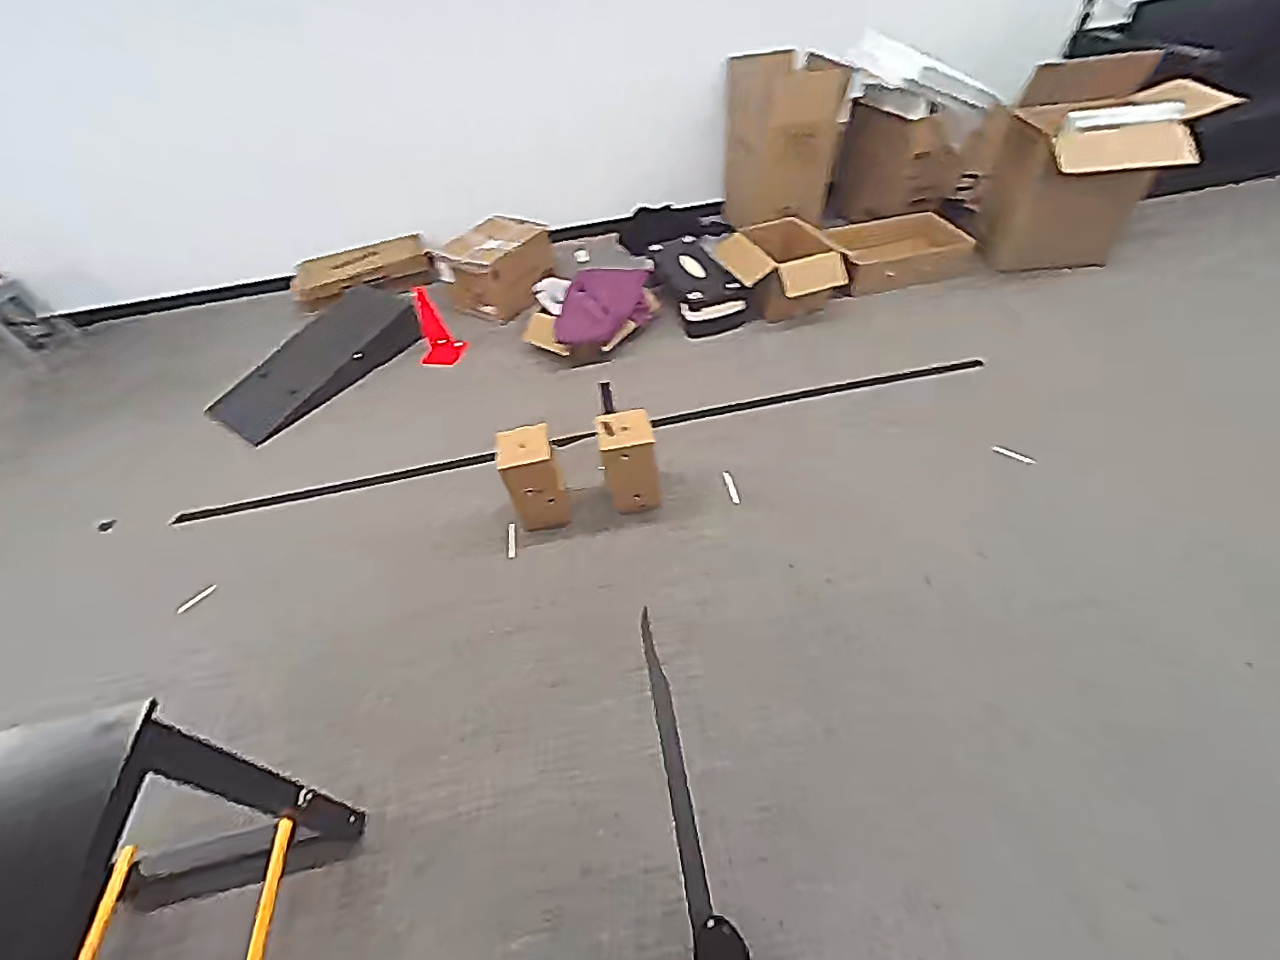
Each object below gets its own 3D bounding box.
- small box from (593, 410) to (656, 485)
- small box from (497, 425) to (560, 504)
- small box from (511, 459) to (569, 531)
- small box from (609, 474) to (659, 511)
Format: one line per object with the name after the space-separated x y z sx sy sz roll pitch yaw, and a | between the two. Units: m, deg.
-0.050 -0.103 1.788 0.179 0.176 0.168 -11 48 -4 | small box
-0.368 -0.050 1.783 0.168 0.176 0.179 -13 49 -2 | small box
-0.350 0.055 1.906 0.179 0.176 0.168 -13 47 -4 | small box
-0.028 -0.005 1.922 0.168 0.176 0.179 -10 48 -2 | small box
